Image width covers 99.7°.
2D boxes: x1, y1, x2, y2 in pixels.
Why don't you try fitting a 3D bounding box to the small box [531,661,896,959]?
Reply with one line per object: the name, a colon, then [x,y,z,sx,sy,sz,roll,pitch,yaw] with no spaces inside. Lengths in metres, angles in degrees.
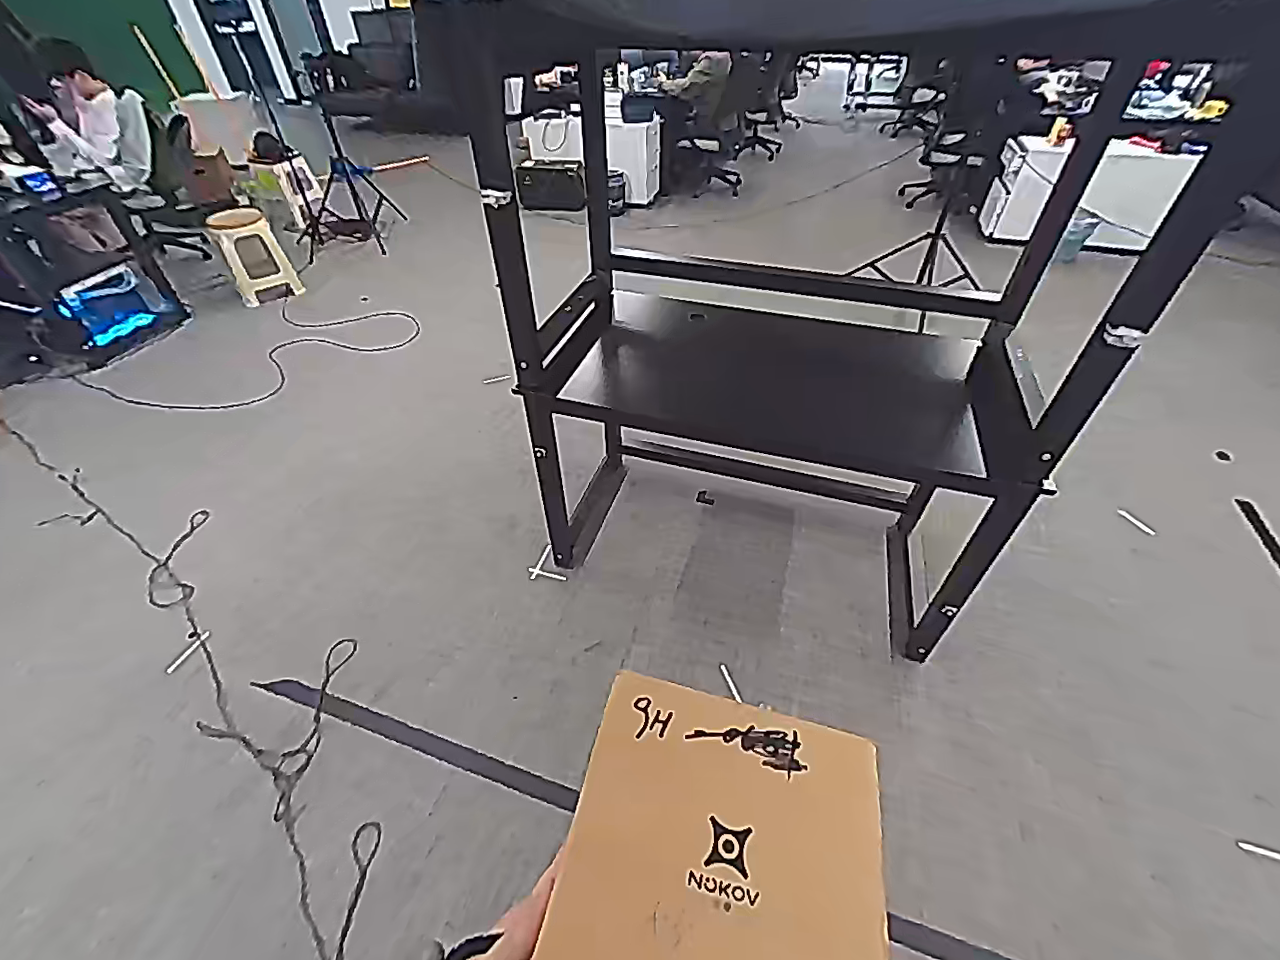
small box: [0.039,0.247,0.333,0.168,0.176,0.179,15,47,6]
